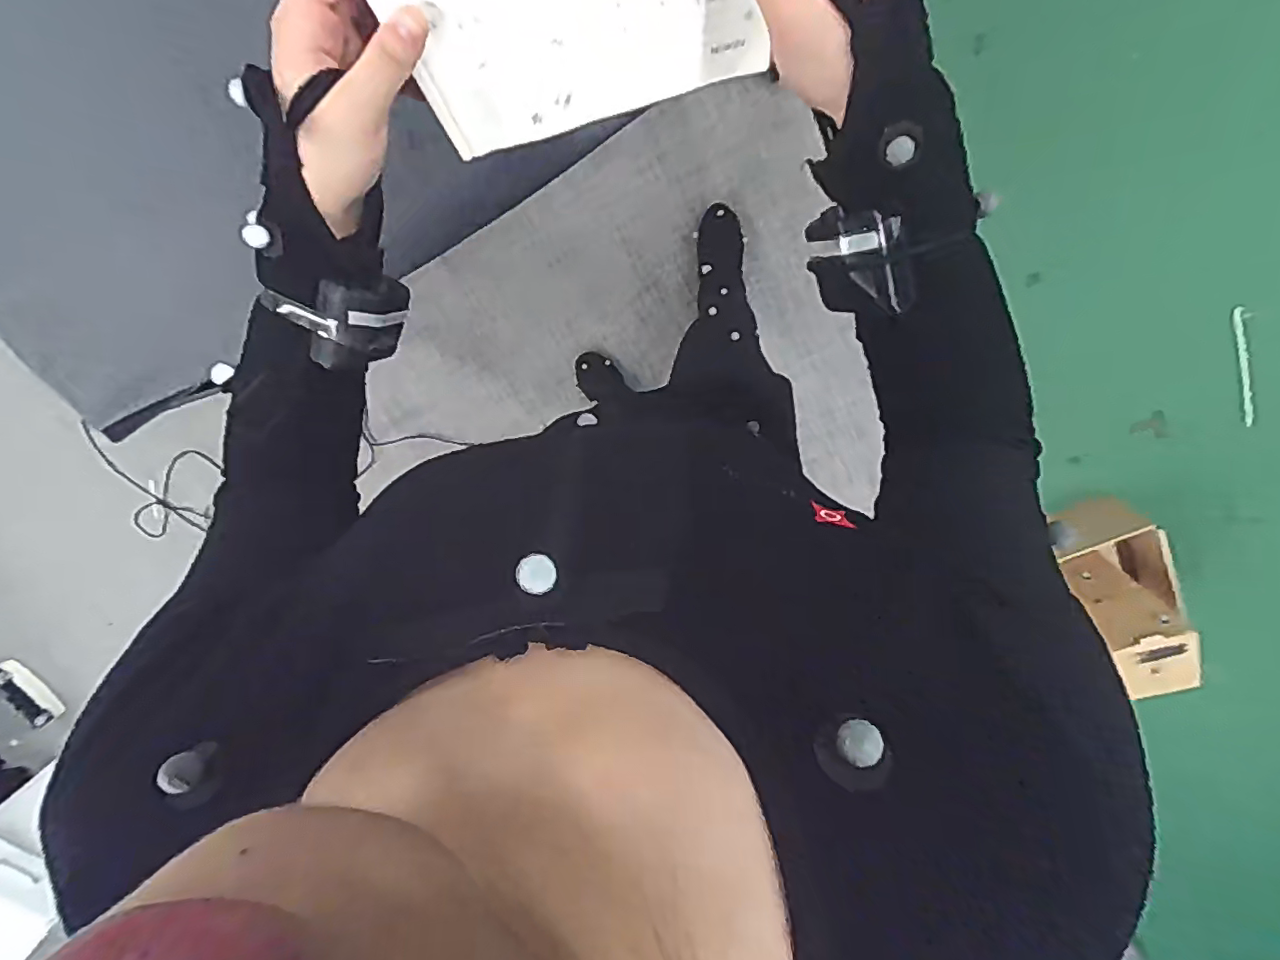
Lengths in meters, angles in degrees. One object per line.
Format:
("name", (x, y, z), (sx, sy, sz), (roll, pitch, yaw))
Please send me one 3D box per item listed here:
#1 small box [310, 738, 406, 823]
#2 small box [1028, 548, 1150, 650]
("small box", (-0.842, 0.914, 1.618), (0.179, 0.176, 0.168), (42, 110, -13))
("small box", (1.174, 0.306, 1.422), (0.179, 0.176, 0.168), (-25, 111, 17))
